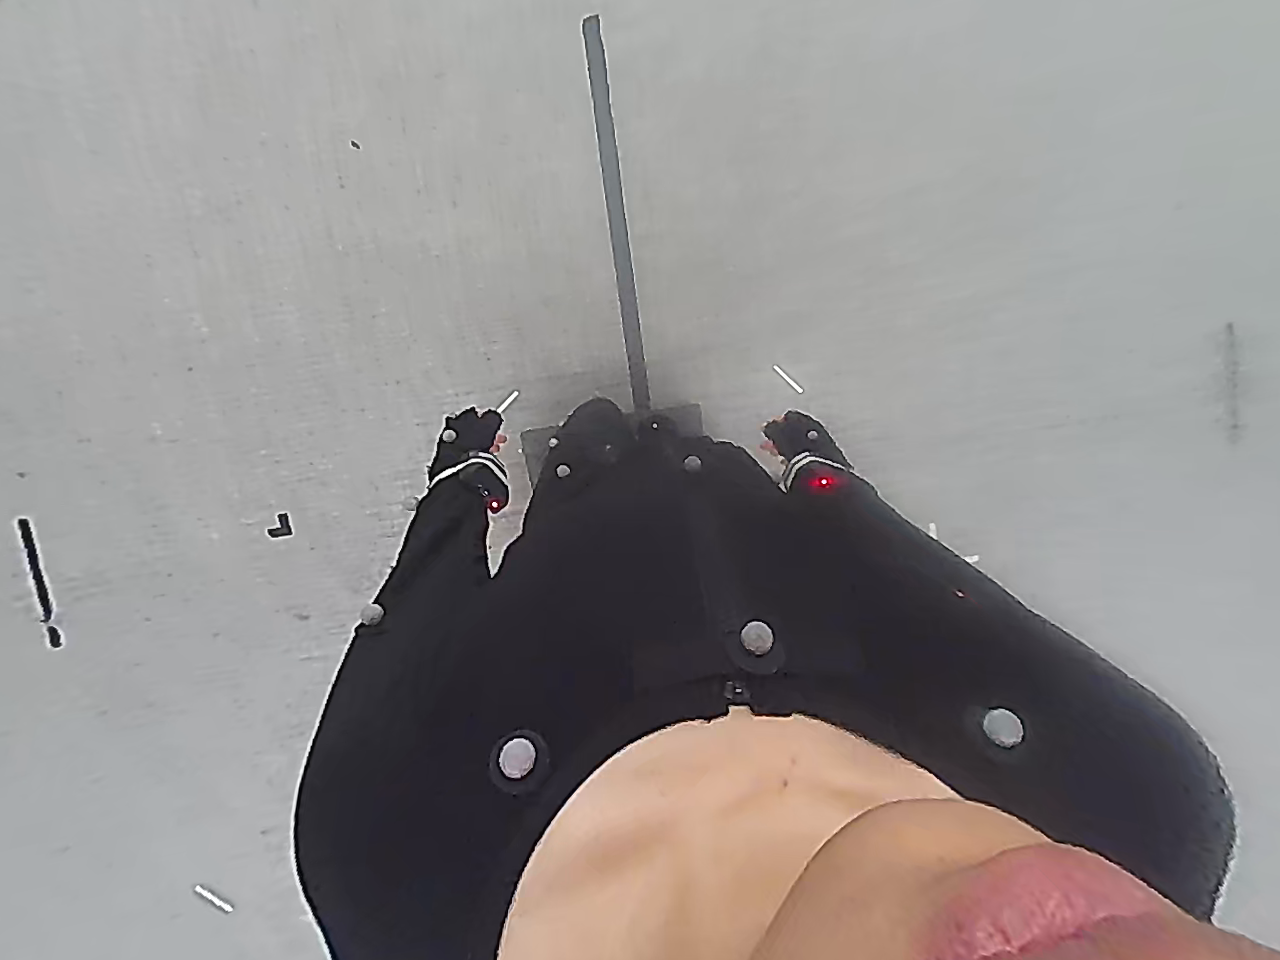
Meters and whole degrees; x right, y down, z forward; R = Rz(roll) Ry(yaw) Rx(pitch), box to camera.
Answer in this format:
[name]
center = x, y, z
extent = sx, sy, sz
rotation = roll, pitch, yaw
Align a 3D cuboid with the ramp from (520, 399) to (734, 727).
[ramp]
center = -0.005, 0.285, 1.592
extent = 0.509, 0.206, 0.991
rotation = -11, 98, -2
